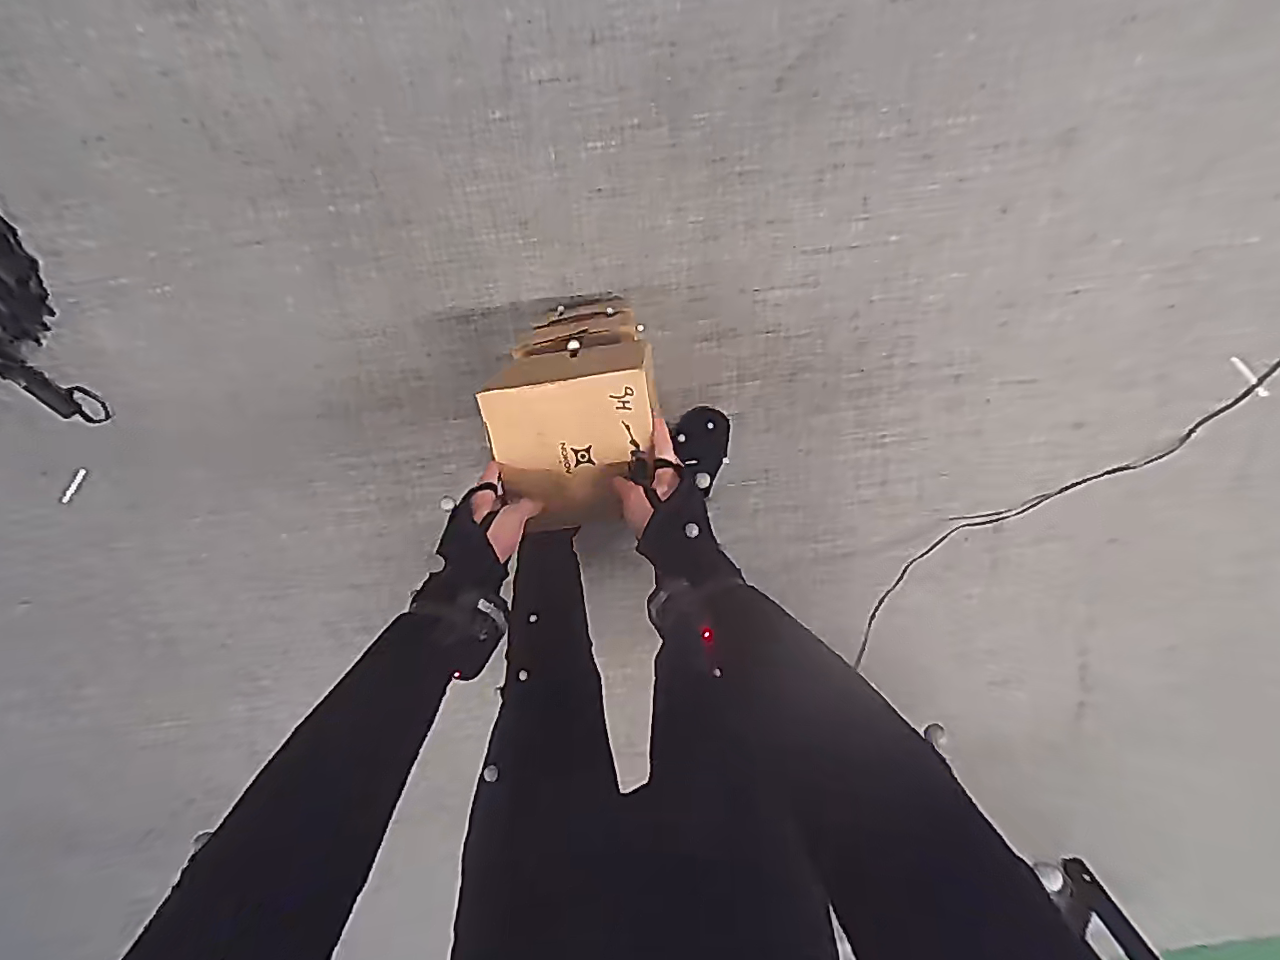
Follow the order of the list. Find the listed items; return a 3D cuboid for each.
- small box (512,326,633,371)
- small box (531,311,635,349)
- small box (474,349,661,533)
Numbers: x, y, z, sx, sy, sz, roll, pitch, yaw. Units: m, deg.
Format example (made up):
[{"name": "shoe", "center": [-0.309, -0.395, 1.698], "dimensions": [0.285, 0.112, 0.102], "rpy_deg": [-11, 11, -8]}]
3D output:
[{"name": "small box", "center": [-0.083, -0.132, 0.827], "dimensions": [0.168, 0.176, 0.179], "rpy_deg": [-10, 113, 3]}, {"name": "small box", "center": [-0.088, -0.202, 0.976], "dimensions": [0.168, 0.176, 0.179], "rpy_deg": [-10, 114, 3]}, {"name": "small box", "center": [-0.071, -0.054, 0.651], "dimensions": [0.179, 0.176, 0.168], "rpy_deg": [-7, 113, 6]}]
